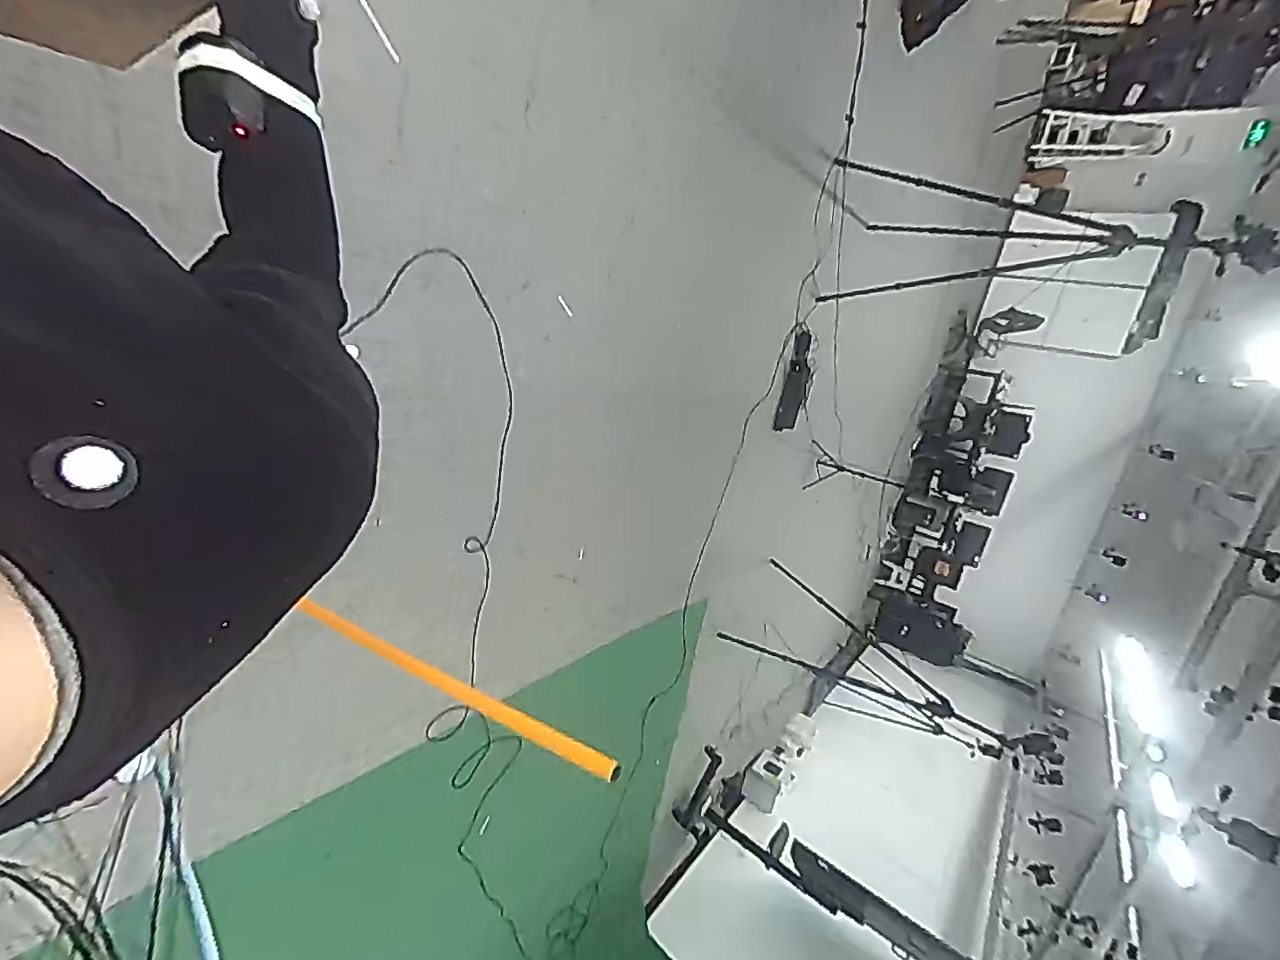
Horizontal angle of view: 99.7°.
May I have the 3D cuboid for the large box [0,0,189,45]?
[{"bbox_3d":[-0.524,-0.504,0.279,0.408,0.320,0.320,-18,119,-49],"label":"large box"}]
